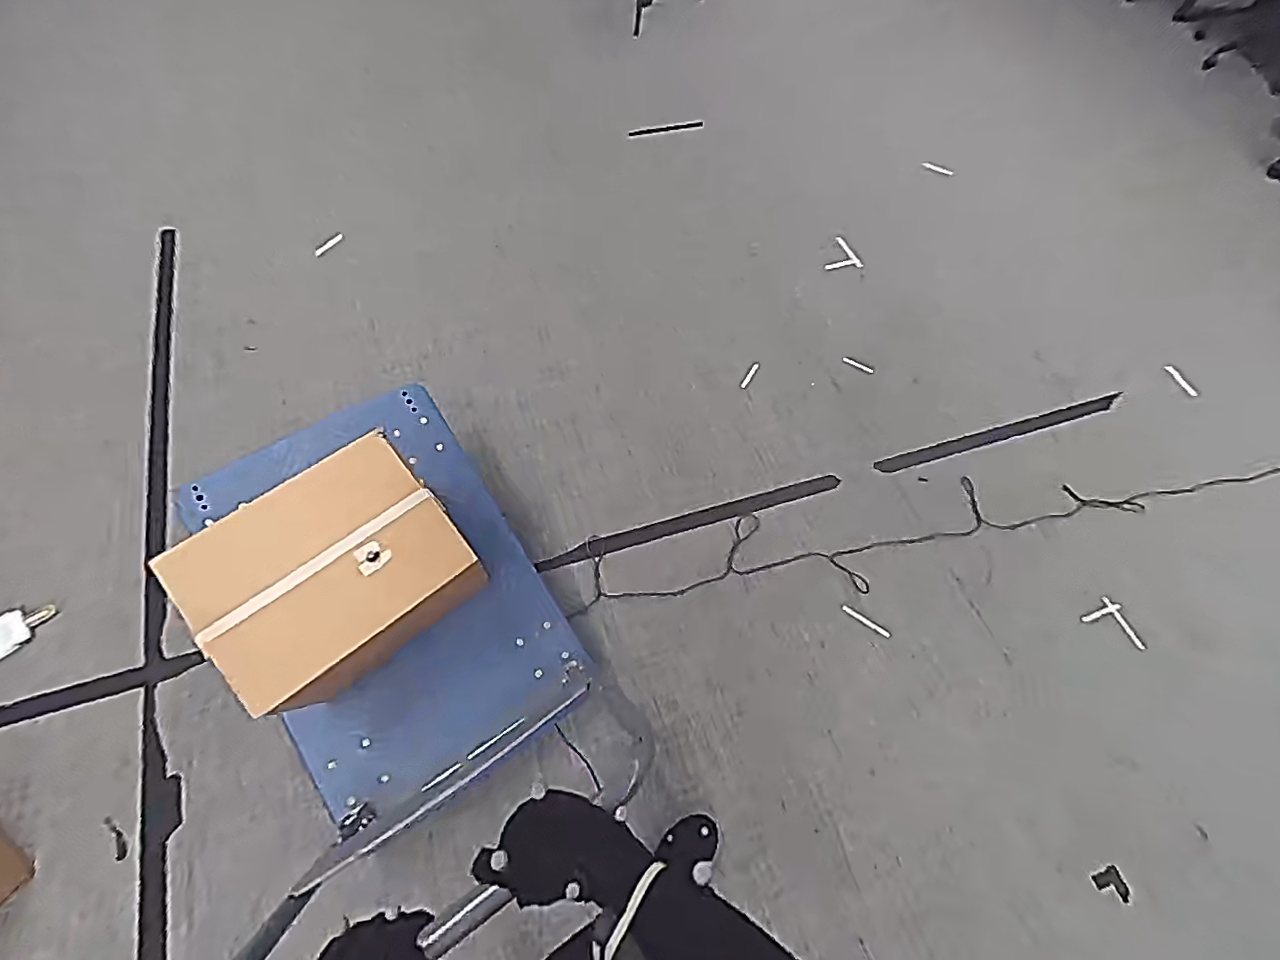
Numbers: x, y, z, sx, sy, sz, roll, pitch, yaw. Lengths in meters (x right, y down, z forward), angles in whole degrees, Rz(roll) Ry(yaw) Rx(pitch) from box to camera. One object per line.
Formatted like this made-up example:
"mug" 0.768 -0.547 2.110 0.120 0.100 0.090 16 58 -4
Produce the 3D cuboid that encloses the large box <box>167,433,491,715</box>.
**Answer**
"large box" -0.556 0.188 1.060 0.408 0.320 0.320 -38 83 -21
